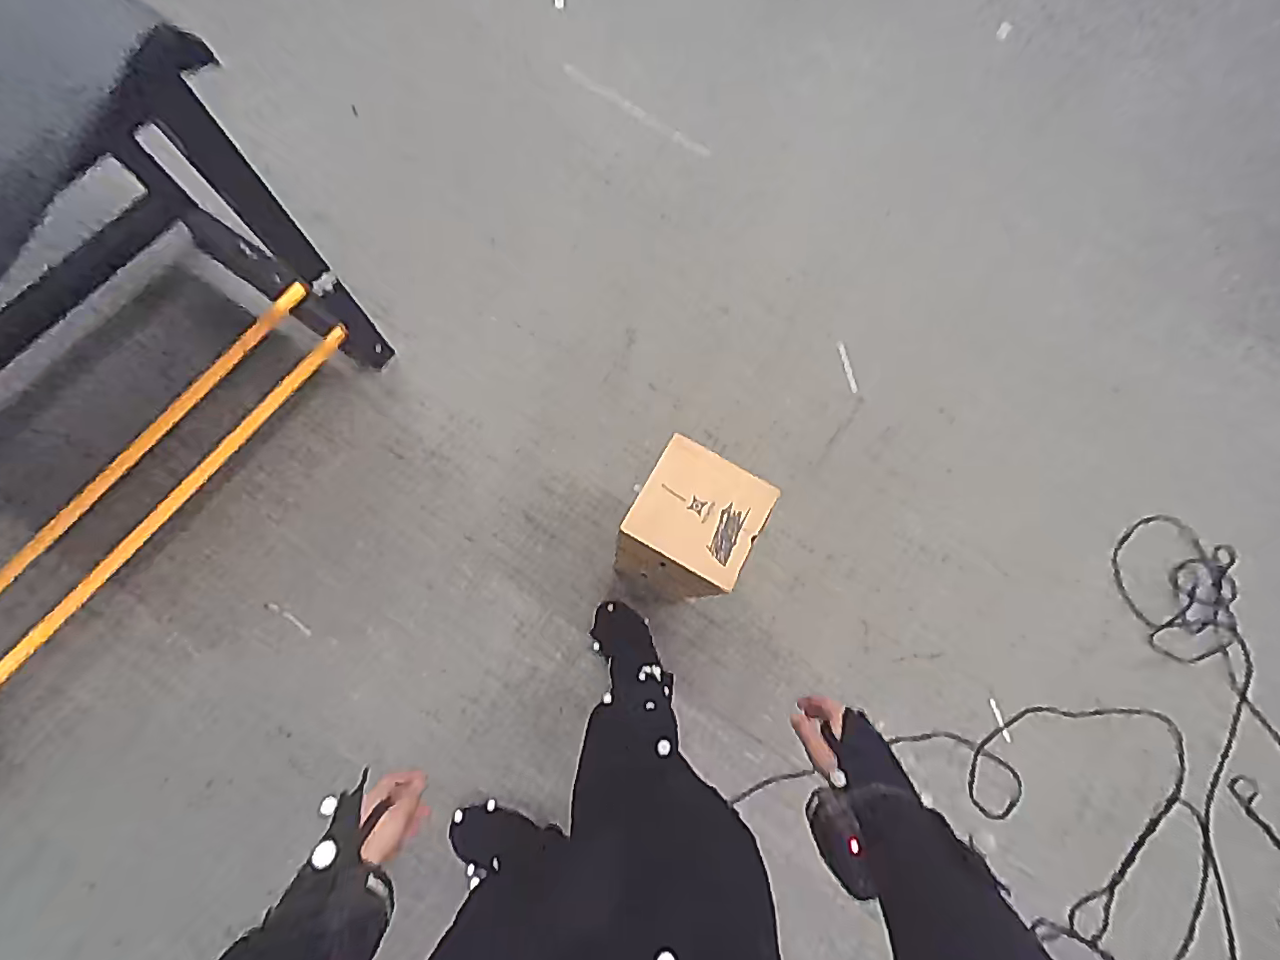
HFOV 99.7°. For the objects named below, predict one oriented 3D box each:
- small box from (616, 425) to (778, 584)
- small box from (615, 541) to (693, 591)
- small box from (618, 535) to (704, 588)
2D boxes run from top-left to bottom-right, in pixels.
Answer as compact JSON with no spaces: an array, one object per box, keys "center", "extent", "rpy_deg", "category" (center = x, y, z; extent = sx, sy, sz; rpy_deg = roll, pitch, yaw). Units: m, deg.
[{"center":[0.078,0.047,0.831],"extent":[0.179,0.176,0.168],"rpy_deg":[30,76,3],"category":"small box"},{"center":[0.057,0.128,1.149],"extent":[0.179,0.176,0.168],"rpy_deg":[30,77,2],"category":"small box"},{"center":[0.066,0.083,0.992],"extent":[0.168,0.176,0.179],"rpy_deg":[29,77,2],"category":"small box"}]
